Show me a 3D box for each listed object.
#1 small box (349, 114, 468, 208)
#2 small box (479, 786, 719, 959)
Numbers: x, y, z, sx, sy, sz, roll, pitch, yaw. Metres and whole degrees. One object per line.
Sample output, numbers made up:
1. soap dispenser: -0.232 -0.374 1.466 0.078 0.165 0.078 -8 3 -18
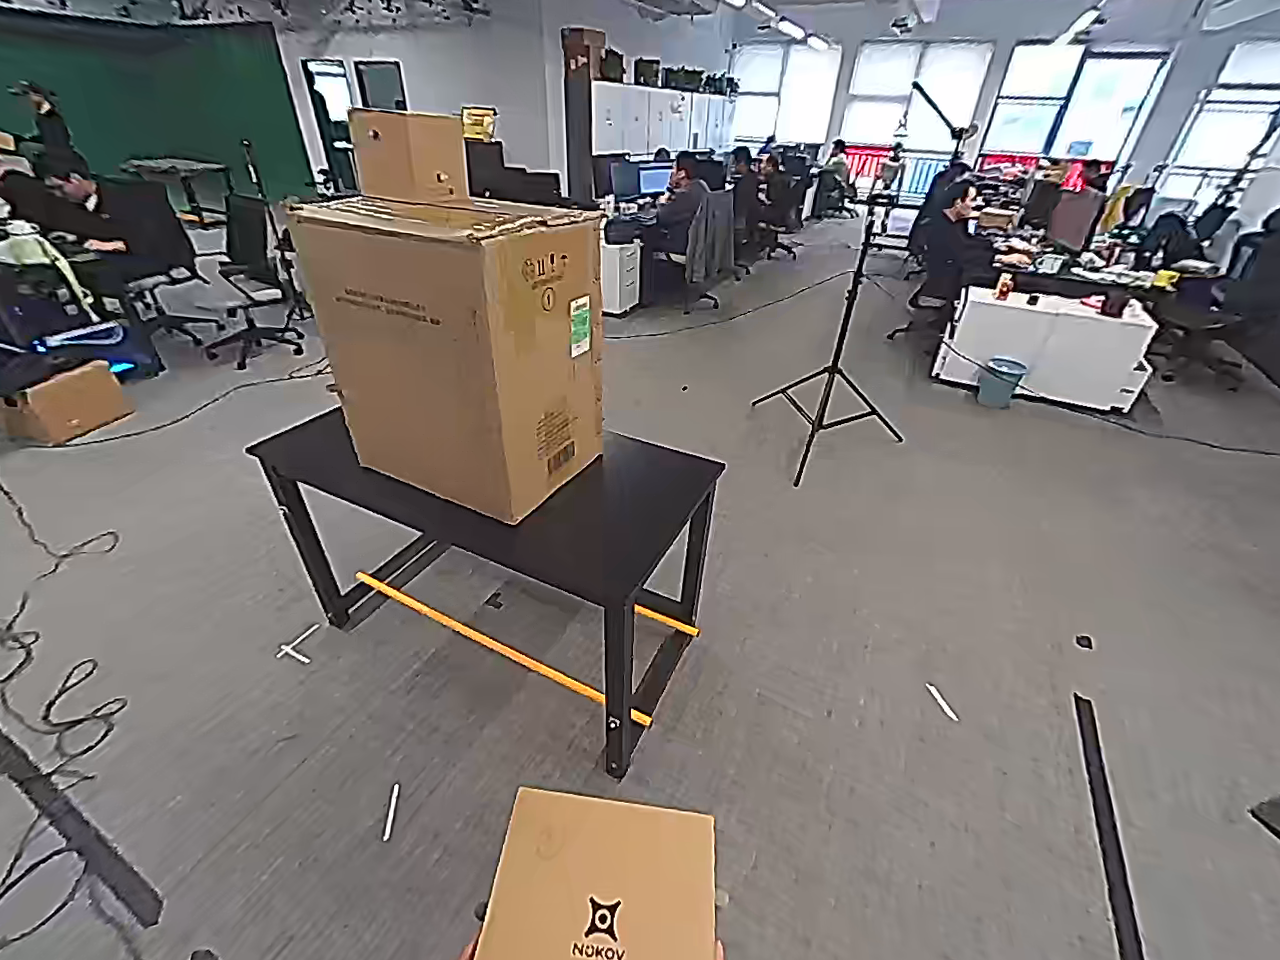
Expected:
1. small box: -0.514 -0.716 1.220 0.179 0.176 0.168 19 36 21
2. small box: -0.032 0.380 0.429 0.168 0.176 0.179 7 38 2
